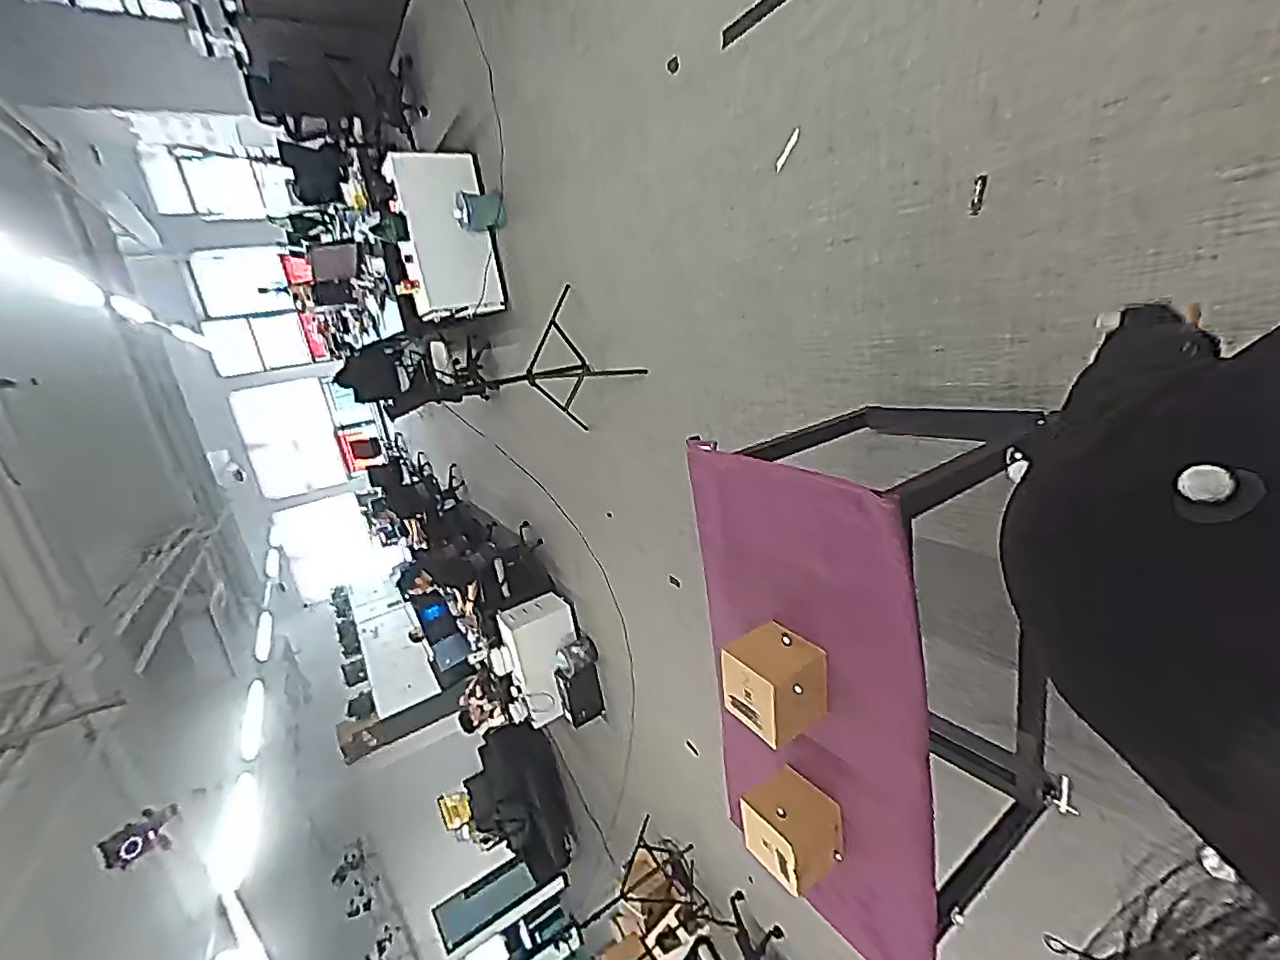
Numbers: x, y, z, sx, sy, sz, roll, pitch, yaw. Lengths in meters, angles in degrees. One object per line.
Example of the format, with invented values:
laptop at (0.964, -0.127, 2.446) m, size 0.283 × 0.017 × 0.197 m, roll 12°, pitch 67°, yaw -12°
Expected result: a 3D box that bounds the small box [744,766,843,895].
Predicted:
small box at (0.387, 0.859, 1.346) m, size 0.179 × 0.176 × 0.168 m, roll 16°, pitch 120°, yaw 57°
